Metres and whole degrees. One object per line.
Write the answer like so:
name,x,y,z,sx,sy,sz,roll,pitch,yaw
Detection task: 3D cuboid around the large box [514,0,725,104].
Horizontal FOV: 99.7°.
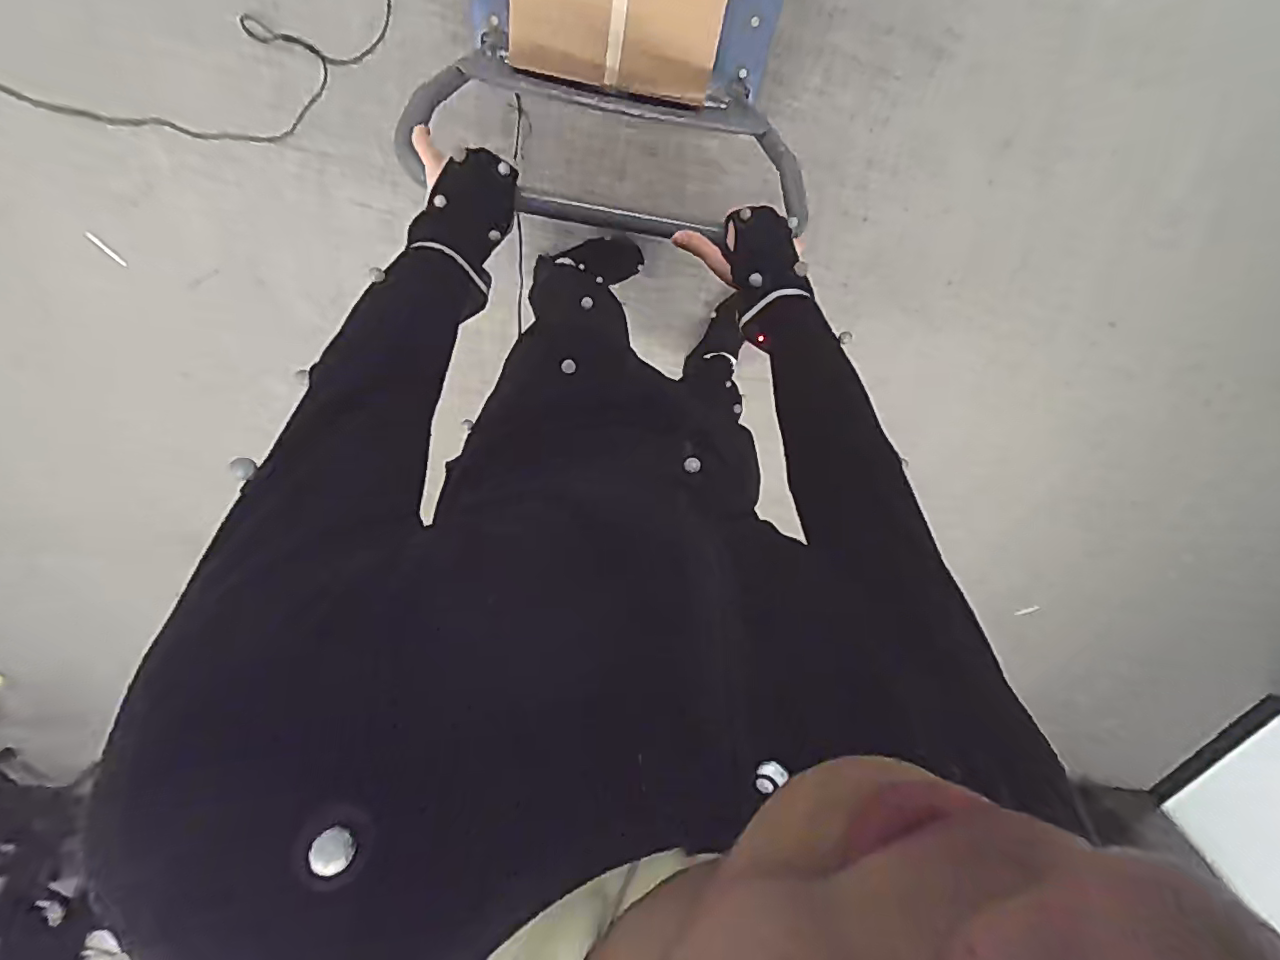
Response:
large box,-0.017,-0.874,0.860,0.320,0.320,0.408,7,129,-7
